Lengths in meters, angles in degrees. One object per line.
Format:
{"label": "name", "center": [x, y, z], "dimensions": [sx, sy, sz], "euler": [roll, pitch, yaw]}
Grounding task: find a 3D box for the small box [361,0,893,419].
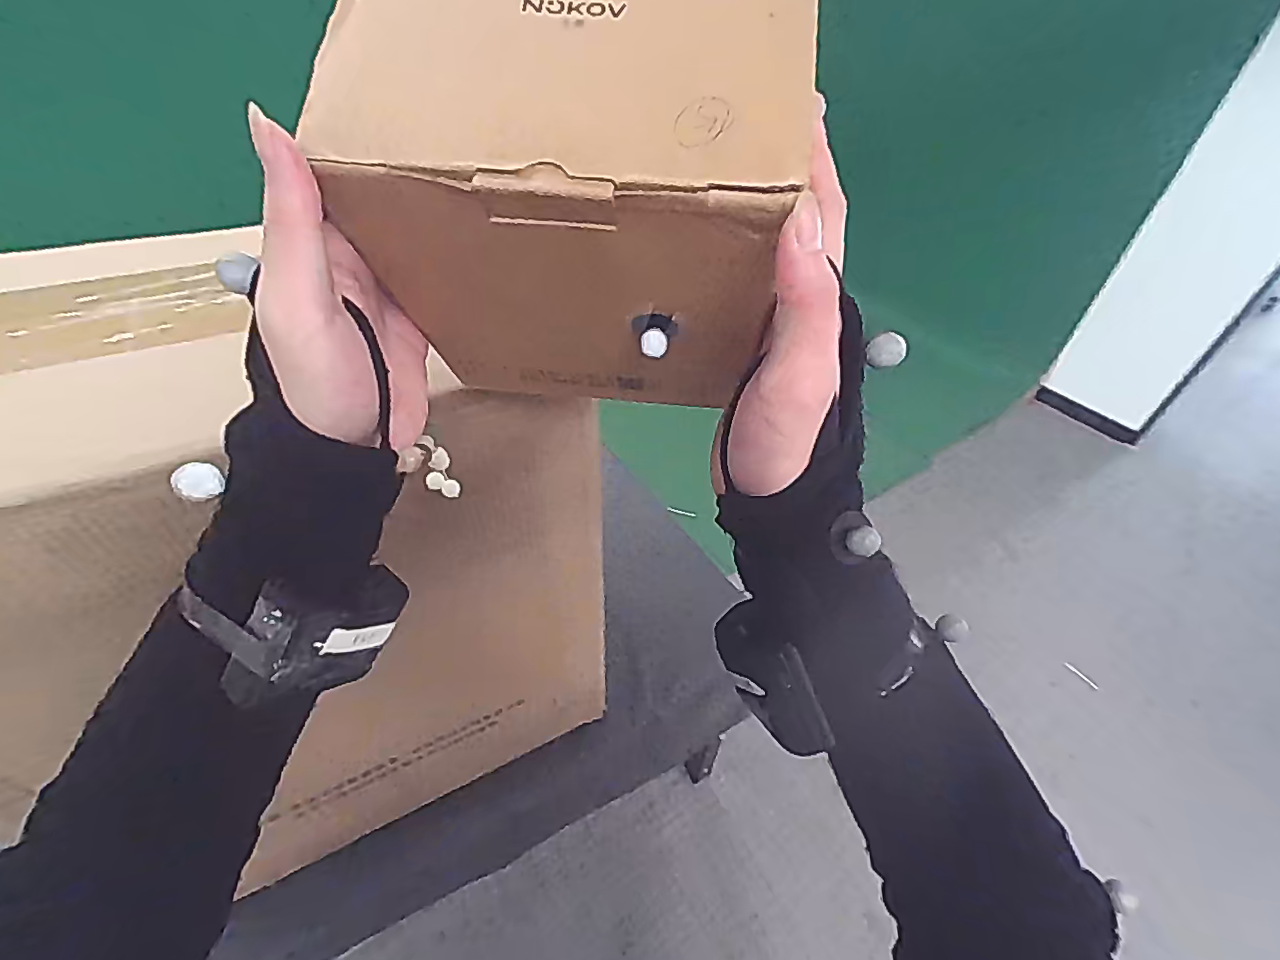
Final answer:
{"label": "small box", "center": [0.004, -0.143, 0.262], "dimensions": [0.168, 0.176, 0.179], "euler": [7, 74, 1]}
